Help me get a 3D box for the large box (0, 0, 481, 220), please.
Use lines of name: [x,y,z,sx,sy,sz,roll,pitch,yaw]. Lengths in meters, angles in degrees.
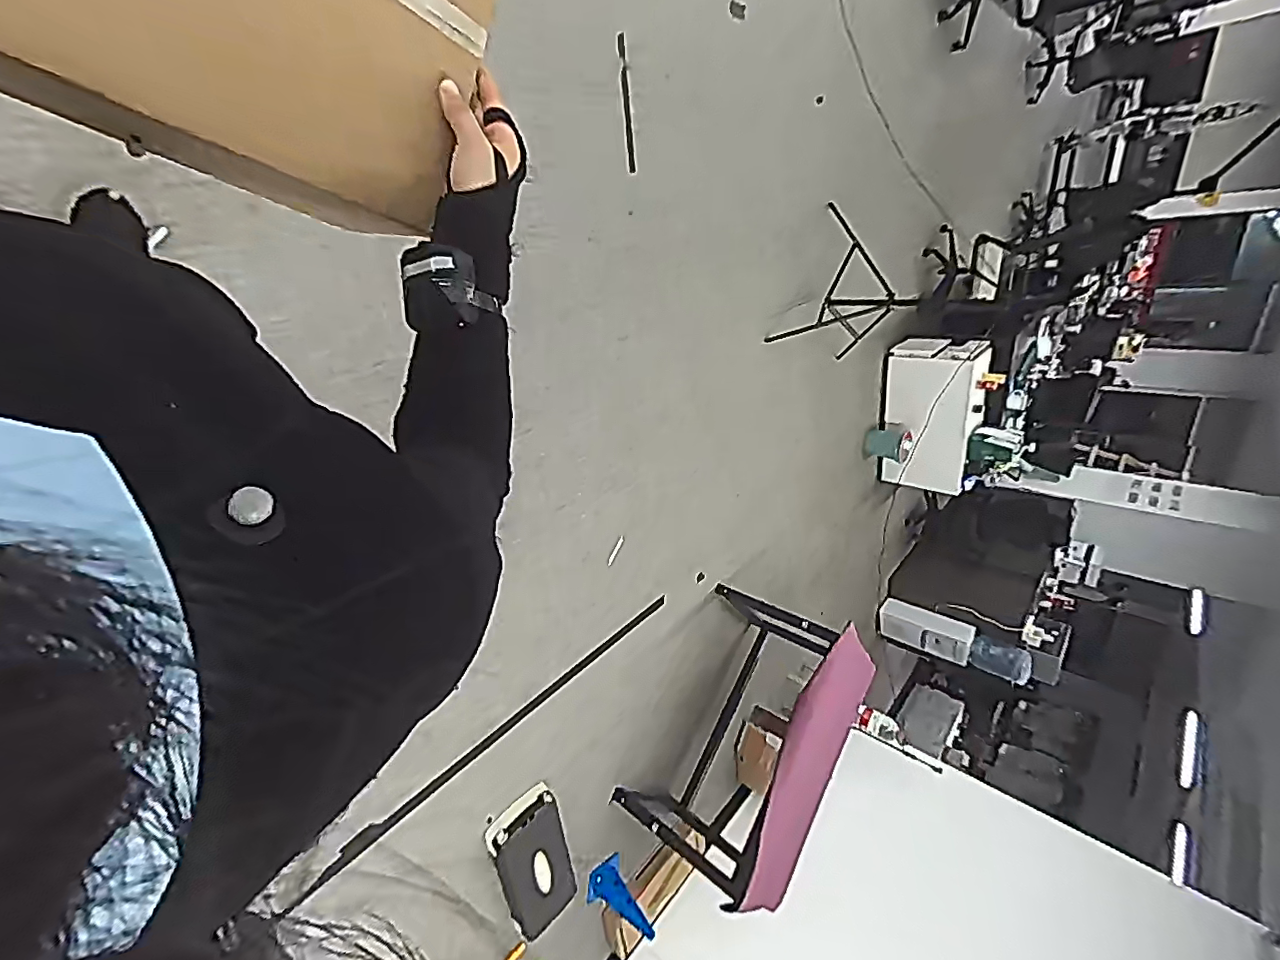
large box: [-0.379,-0.445,0.434,0.408,0.320,0.320,9,104,-43]
